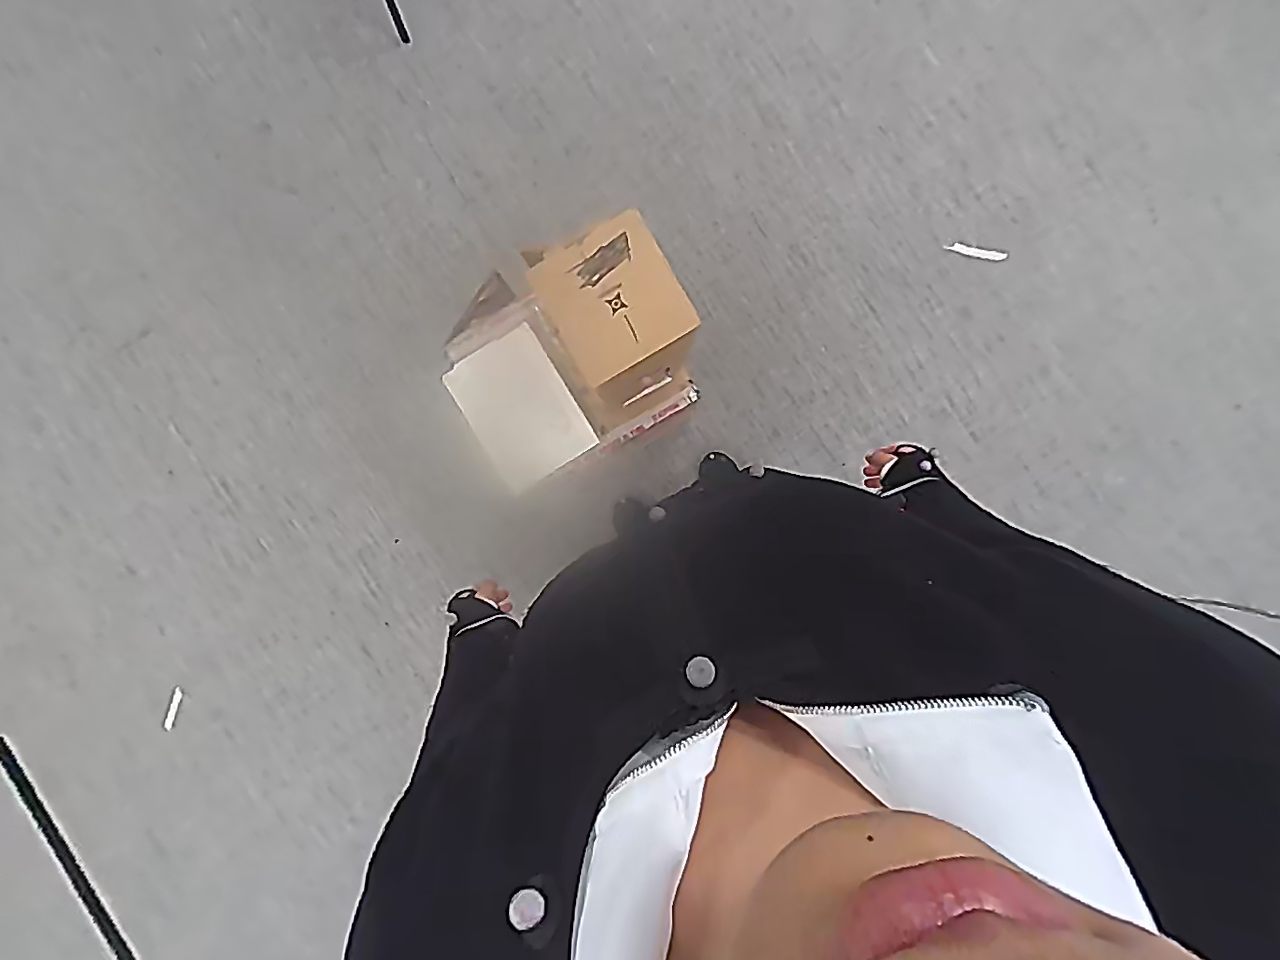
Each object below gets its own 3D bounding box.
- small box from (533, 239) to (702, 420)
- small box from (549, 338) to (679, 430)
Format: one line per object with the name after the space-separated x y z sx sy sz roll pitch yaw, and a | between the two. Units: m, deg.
-0.031 -0.203 0.785 0.168 0.176 0.179 -30 92 1 | small box
-0.034 -0.204 0.950 0.179 0.176 0.168 -34 91 1 | small box
